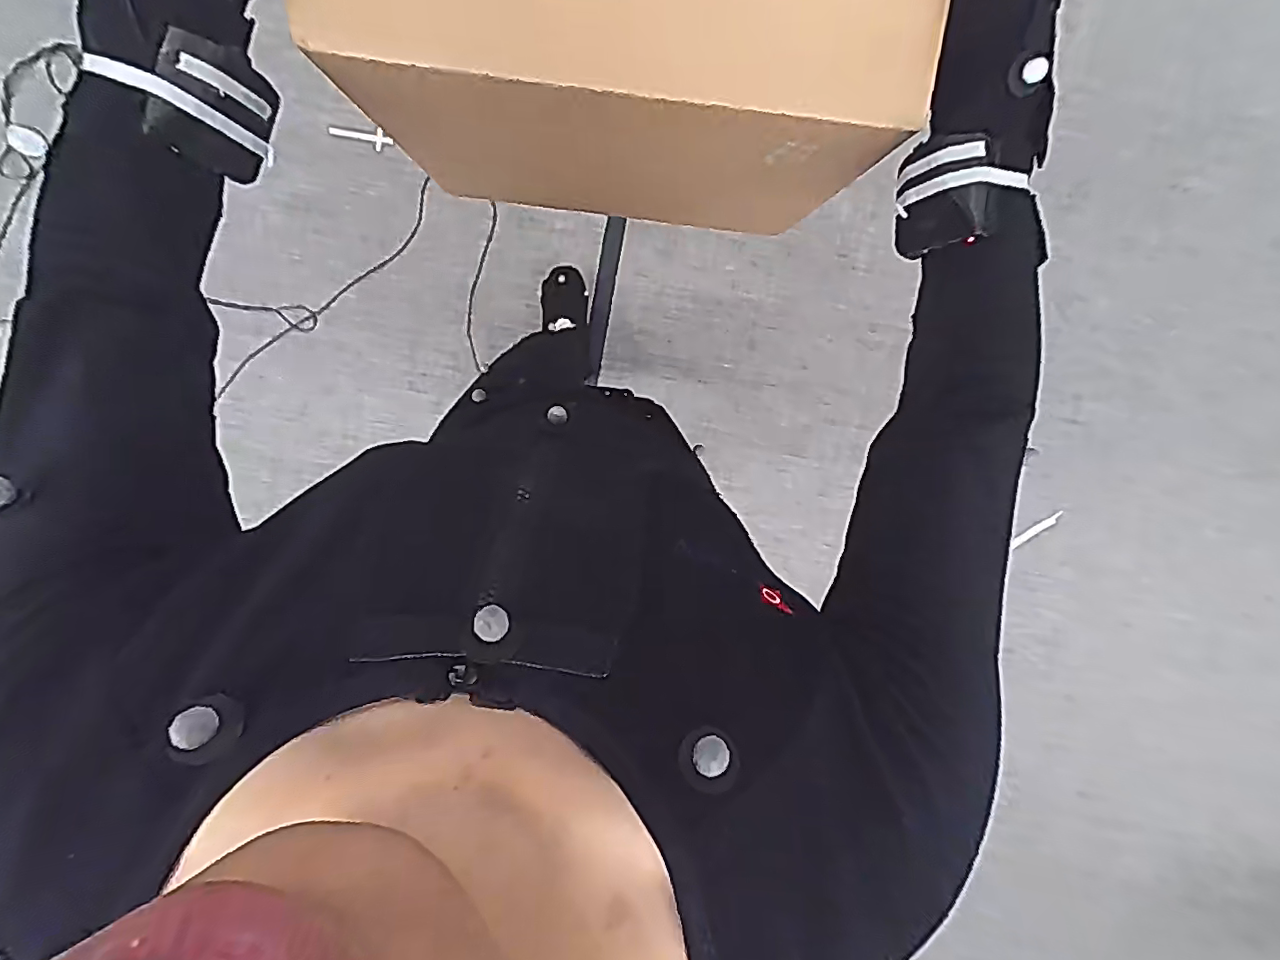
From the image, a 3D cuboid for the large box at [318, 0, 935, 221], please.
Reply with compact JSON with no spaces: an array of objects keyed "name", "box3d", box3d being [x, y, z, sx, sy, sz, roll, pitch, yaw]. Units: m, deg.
[{"name":"large box","box3d":[-0.004,-0.442,0.470,0.408,0.320,0.320,4,103,-4]}]
